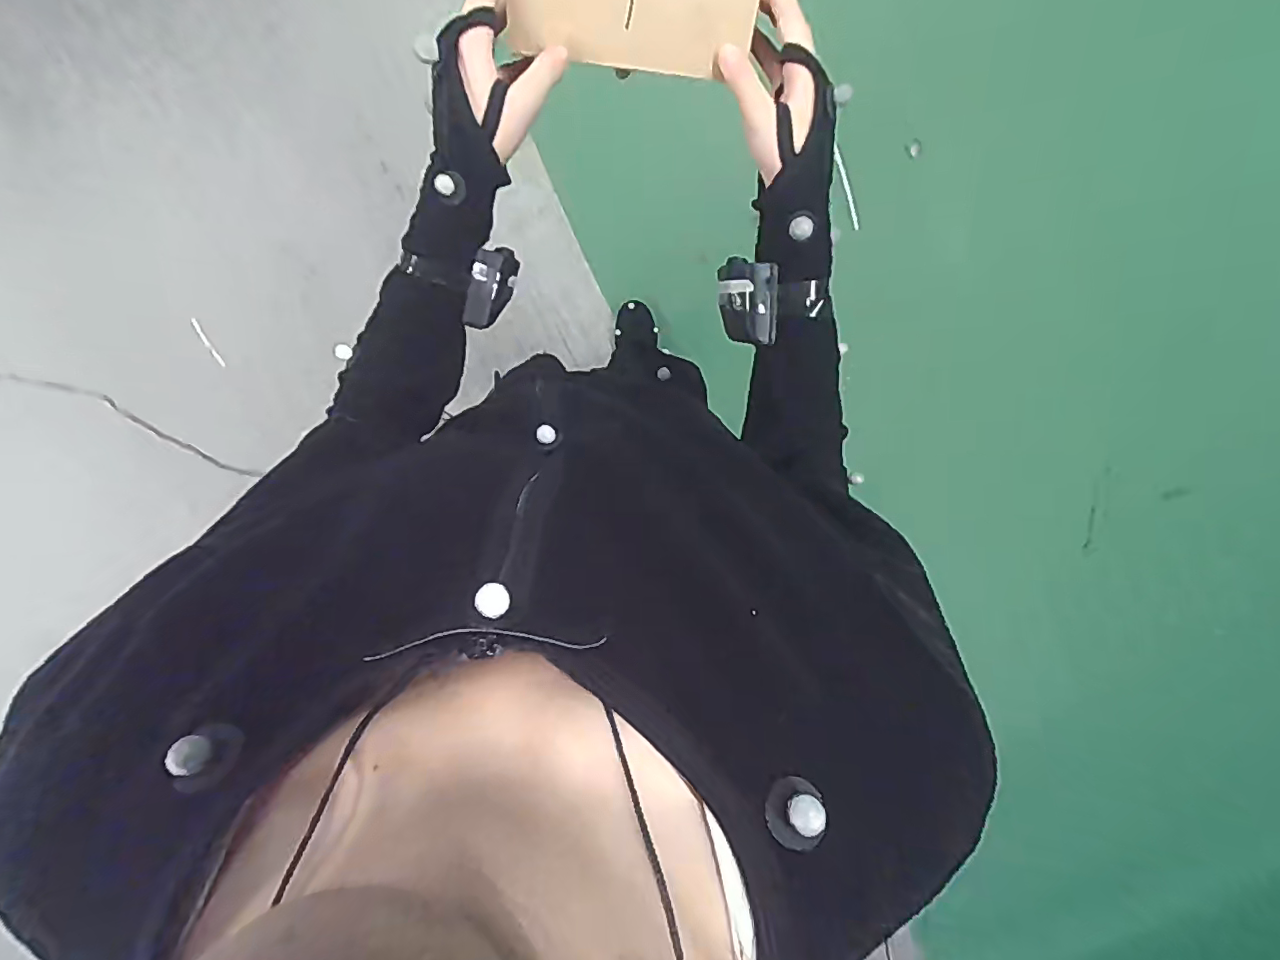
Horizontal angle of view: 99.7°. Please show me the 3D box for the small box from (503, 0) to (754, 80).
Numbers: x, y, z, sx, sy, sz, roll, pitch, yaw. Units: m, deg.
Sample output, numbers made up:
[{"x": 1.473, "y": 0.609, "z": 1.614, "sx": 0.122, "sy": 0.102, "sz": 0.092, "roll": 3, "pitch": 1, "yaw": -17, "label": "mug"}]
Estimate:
[{"x": -0.003, "y": -0.404, "z": 0.377, "sx": 0.168, "sy": 0.176, "sz": 0.179, "roll": 4, "pitch": 132, "yaw": -4, "label": "small box"}]
